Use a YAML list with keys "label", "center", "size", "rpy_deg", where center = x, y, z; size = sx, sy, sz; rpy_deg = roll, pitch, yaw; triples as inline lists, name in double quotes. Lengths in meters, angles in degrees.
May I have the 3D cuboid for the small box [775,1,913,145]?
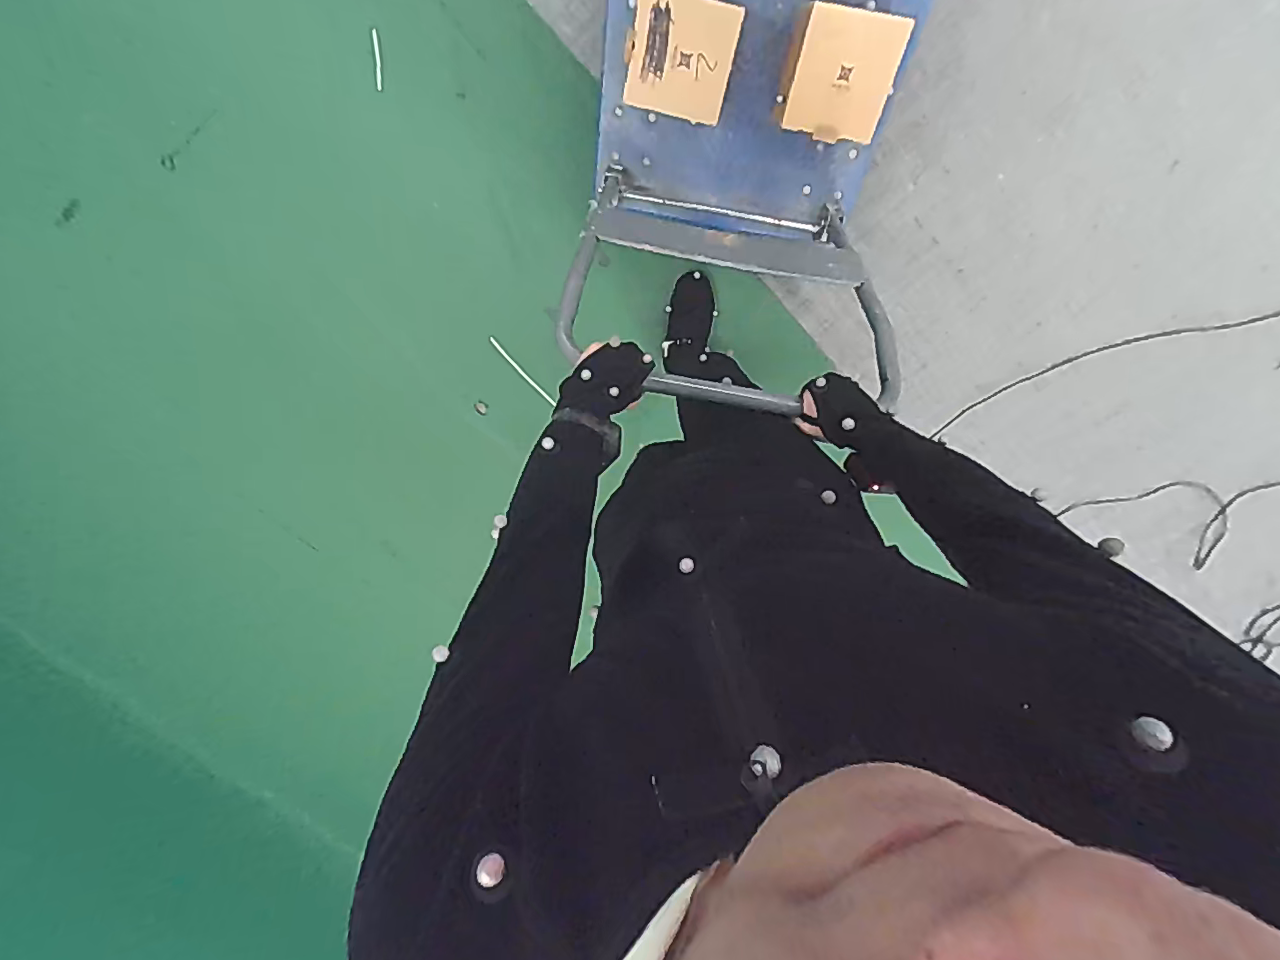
- label: "small box"
  center: [0.350, -0.730, 0.970]
  size: [0.168, 0.176, 0.179]
  rpy_deg: [9, 131, -1]
